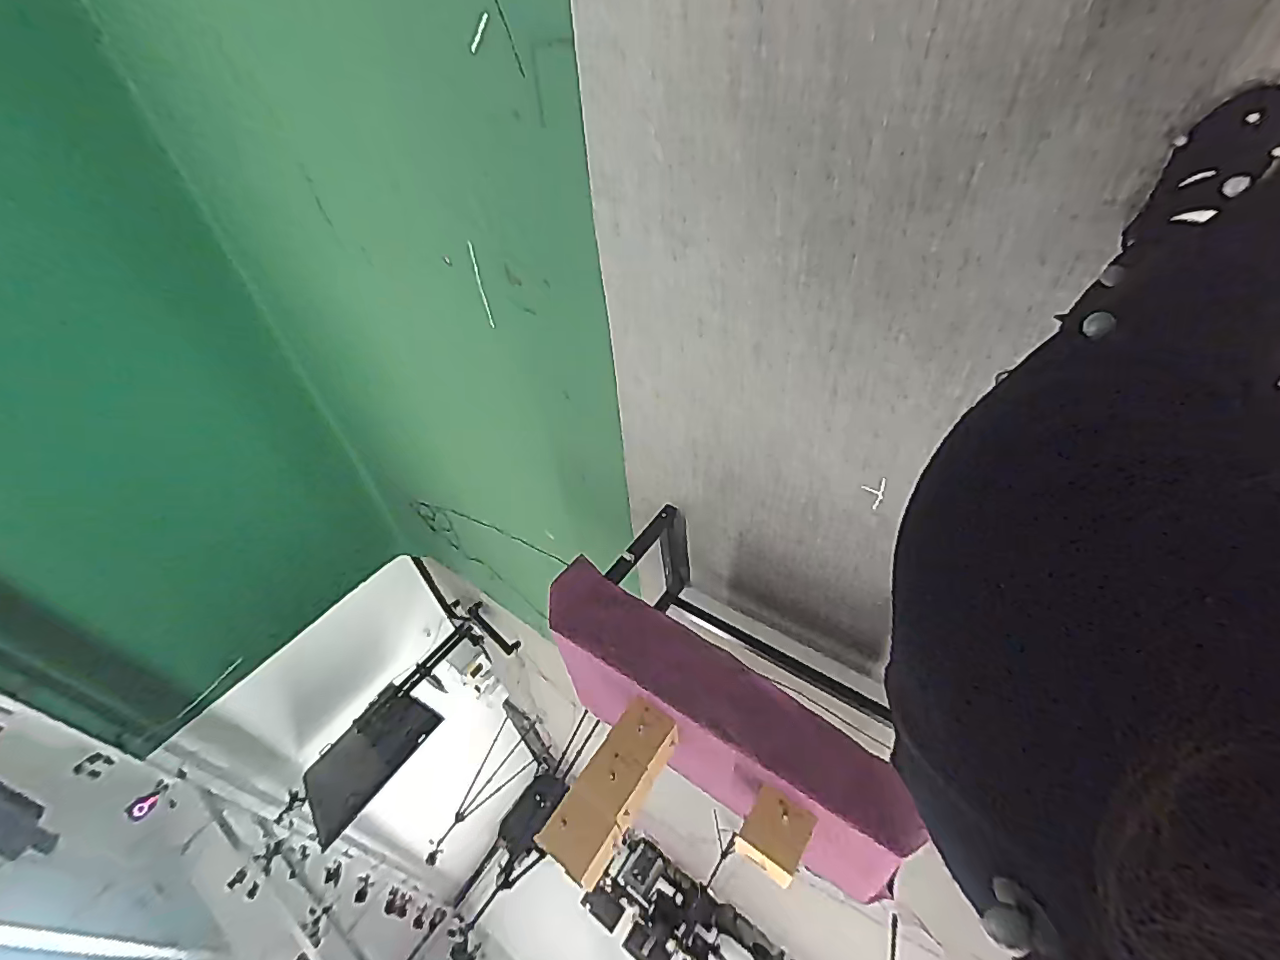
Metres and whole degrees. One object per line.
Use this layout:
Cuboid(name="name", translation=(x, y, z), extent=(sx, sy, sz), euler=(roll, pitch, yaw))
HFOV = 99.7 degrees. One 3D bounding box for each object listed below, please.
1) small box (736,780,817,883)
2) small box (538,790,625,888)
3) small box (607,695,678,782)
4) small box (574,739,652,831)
Cuboid(name="small box", translation=(0.392, 1.007, 1.556), extent=(0.168, 0.176, 0.179), euler=(24, 142, 27))
Cuboid(name="small box", translation=(-0.169, 1.051, 1.599), extent=(0.179, 0.176, 0.168), euler=(22, 143, 28))
Cuboid(name="small box", translation=(0.014, 0.844, 1.777), extent=(0.168, 0.176, 0.179), euler=(24, 142, 28))
Cuboid(name="small box", translation=(-0.078, 0.947, 1.686), extent=(0.168, 0.176, 0.179), euler=(24, 142, 28))
